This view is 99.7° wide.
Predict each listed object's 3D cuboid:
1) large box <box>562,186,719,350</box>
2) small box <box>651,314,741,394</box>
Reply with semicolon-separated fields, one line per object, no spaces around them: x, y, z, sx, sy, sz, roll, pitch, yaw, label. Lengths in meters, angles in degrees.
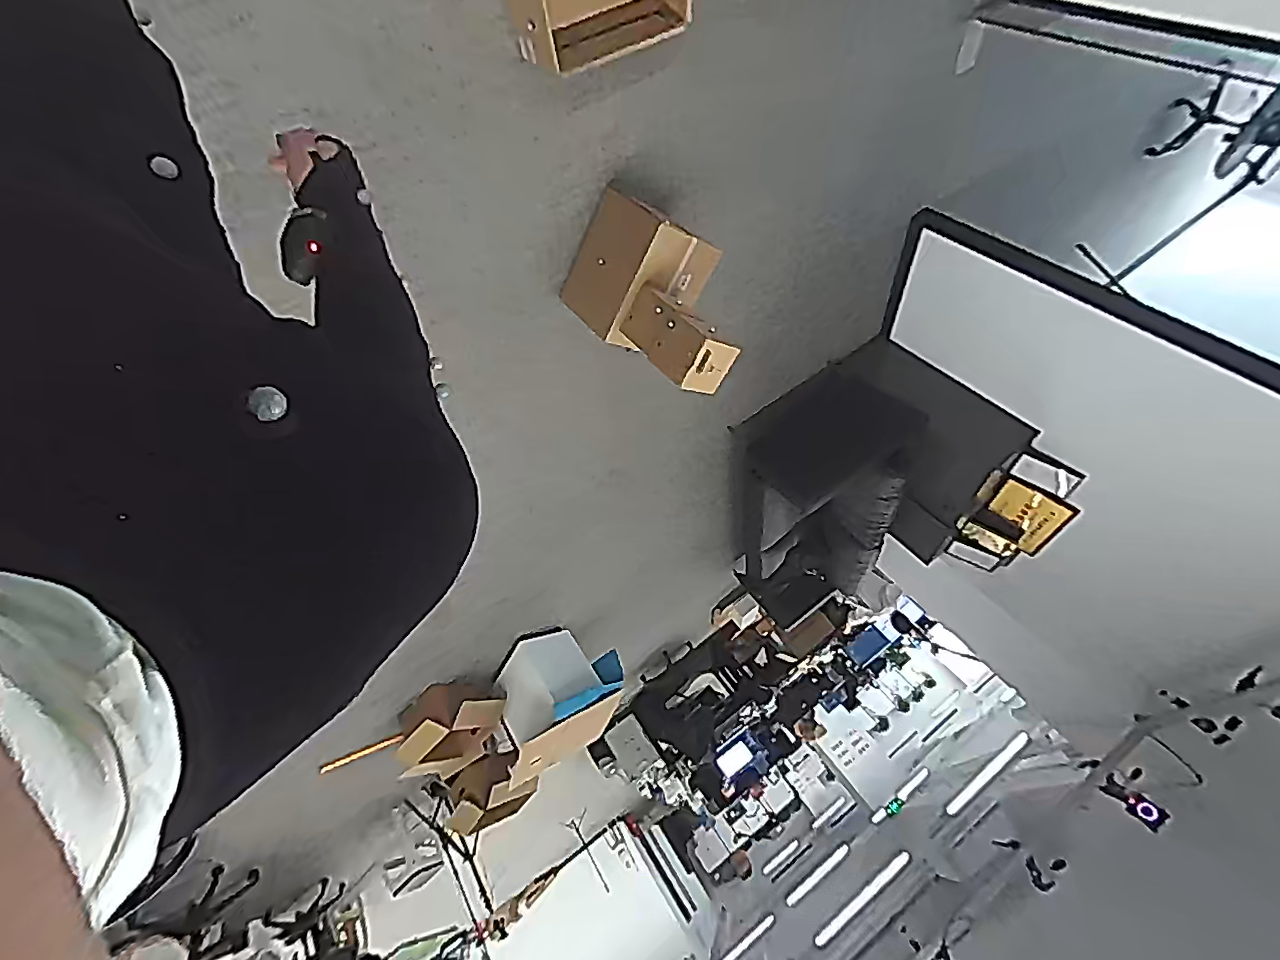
-0.010;-0.703;1.849;0.320;0.320;0.408;-3;131;-47;large box
0.165;-0.384;1.641;0.179;0.176;0.168;-1;130;-48;small box
